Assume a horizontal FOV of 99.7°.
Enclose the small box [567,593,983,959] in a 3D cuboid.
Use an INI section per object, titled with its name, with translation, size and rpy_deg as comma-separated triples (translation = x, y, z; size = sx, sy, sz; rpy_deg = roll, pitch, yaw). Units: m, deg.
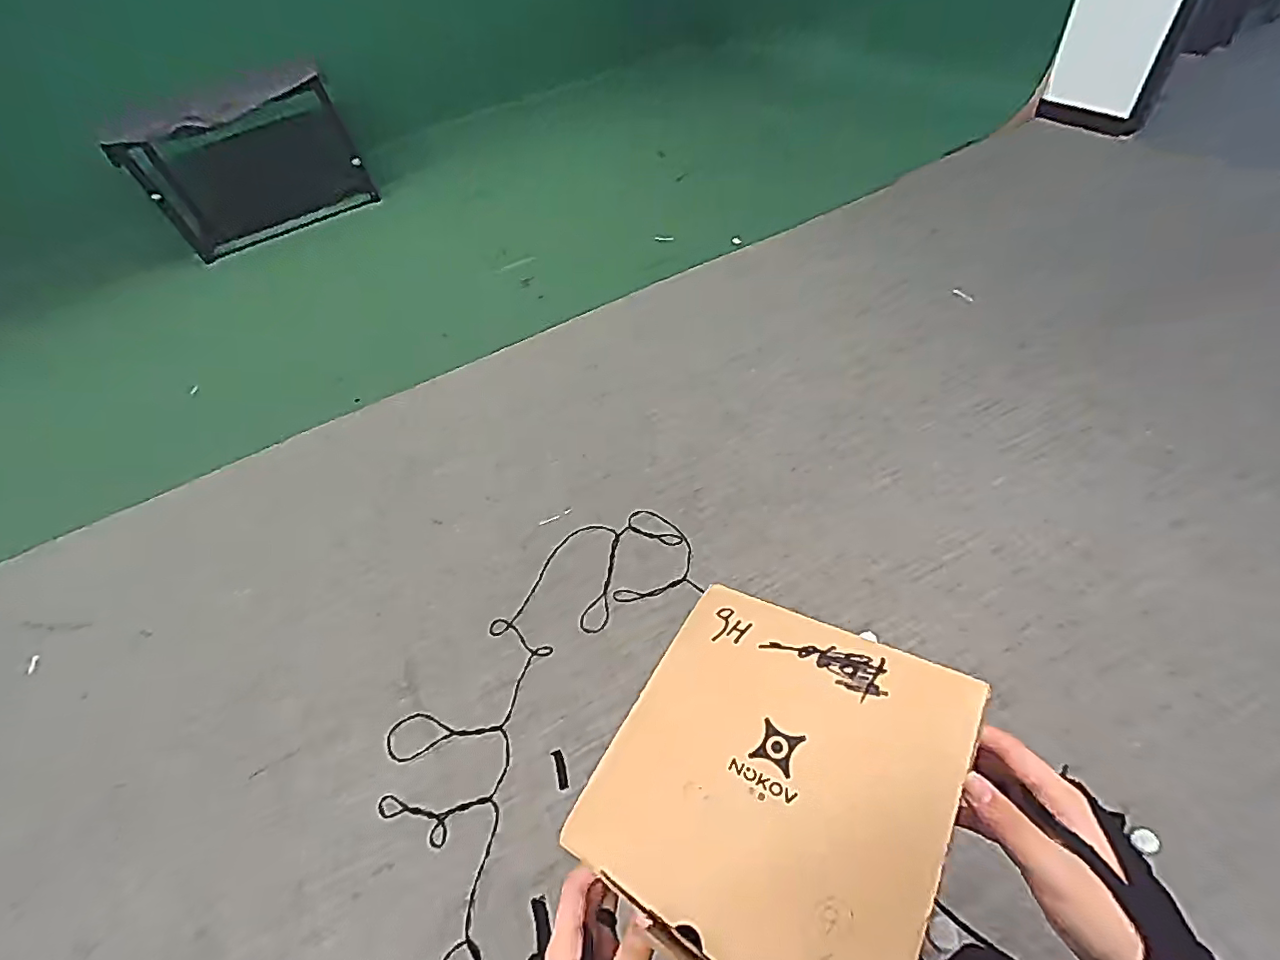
[small box]
translation = 0.093, 0.208, 0.336
size = 0.168, 0.176, 0.179
rpy_deg = 15, 54, 36
